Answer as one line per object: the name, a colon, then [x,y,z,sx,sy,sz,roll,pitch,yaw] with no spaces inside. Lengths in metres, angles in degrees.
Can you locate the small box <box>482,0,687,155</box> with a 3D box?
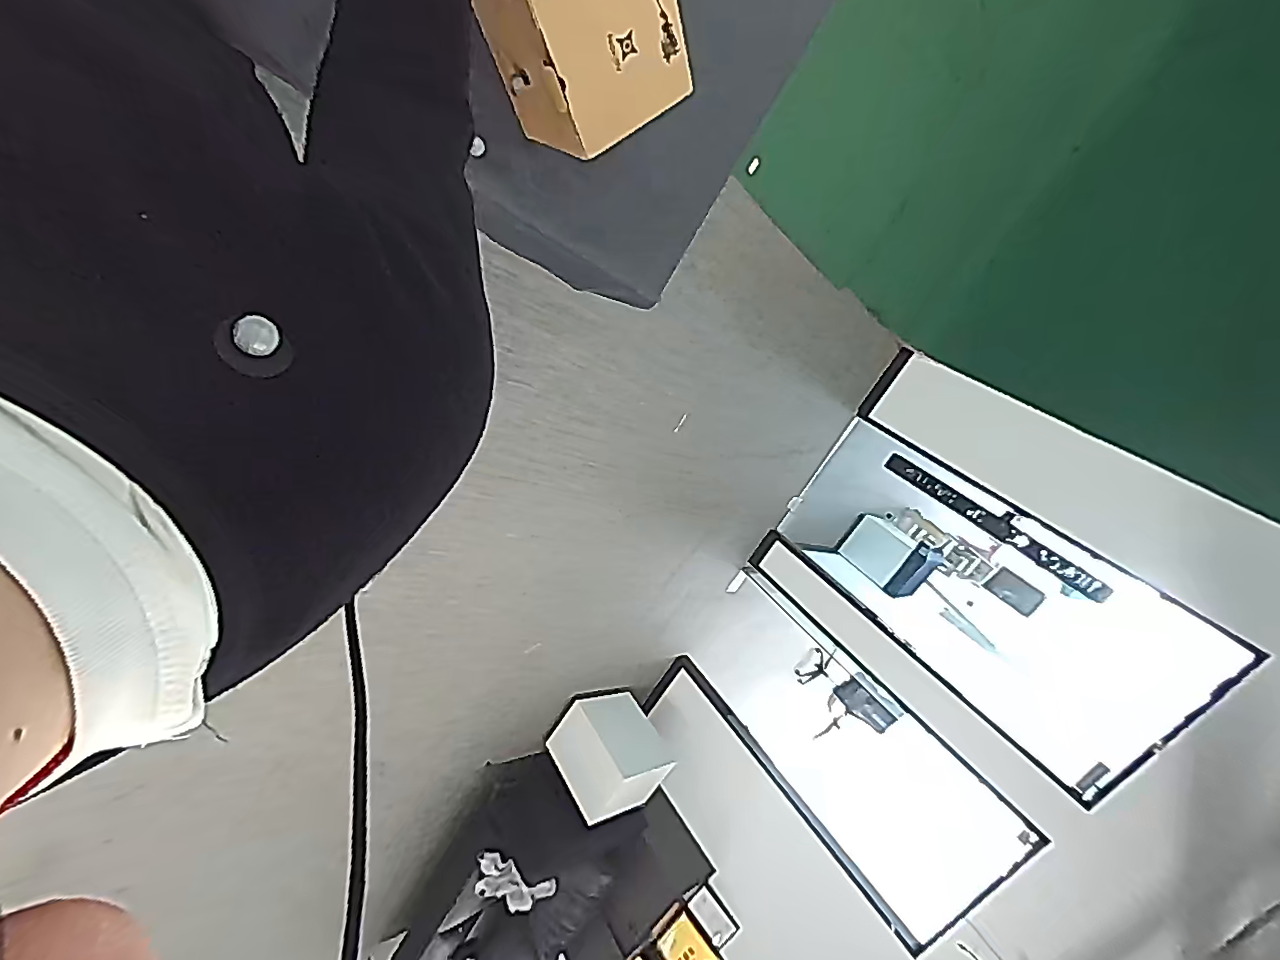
small box: [-0.072,-0.538,0.665,0.179,0.176,0.168,-36,142,-10]
